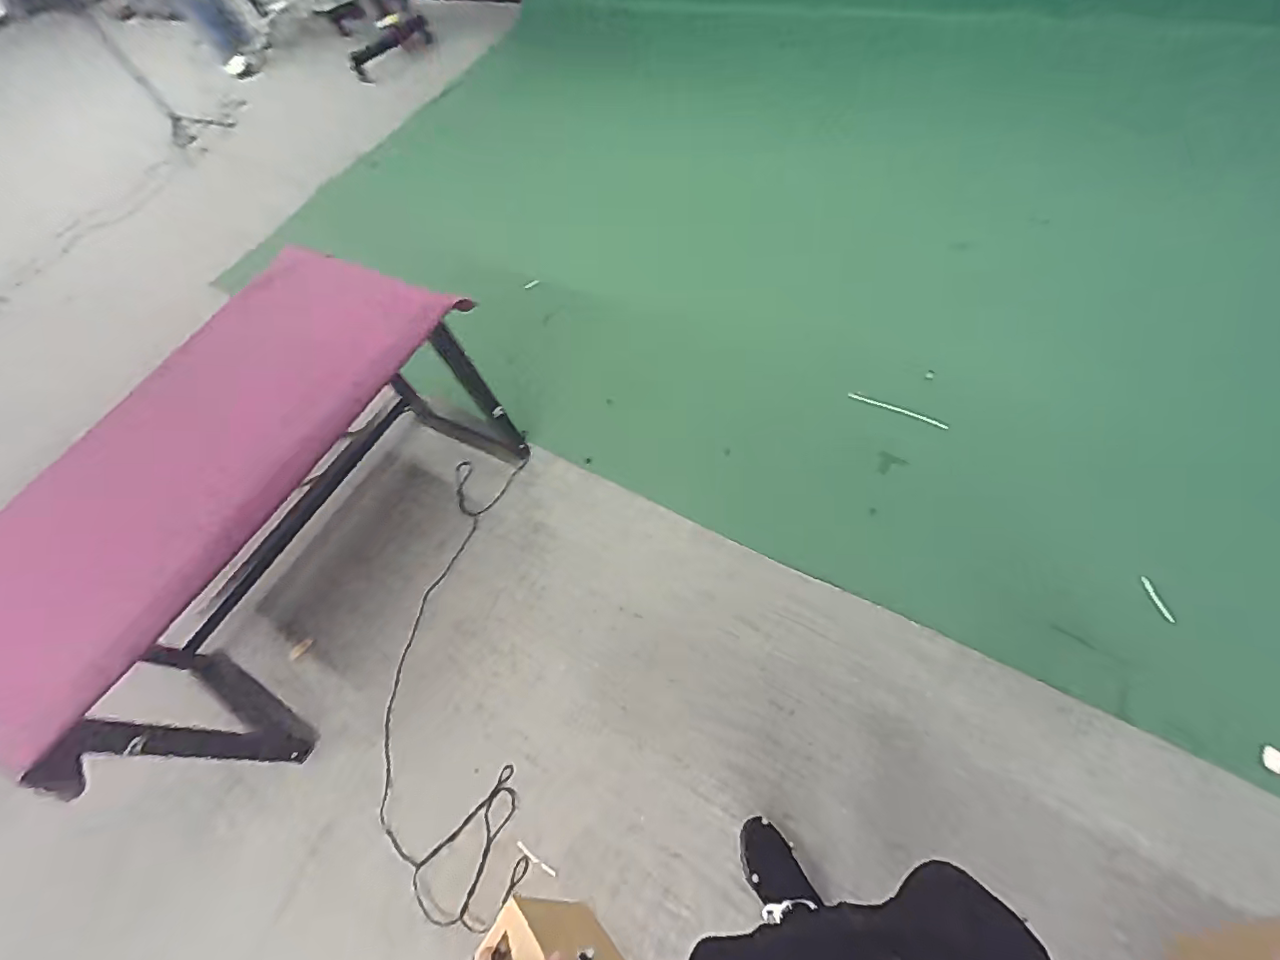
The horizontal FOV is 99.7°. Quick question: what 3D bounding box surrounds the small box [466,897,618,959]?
[{"bbox_3d":[-0.119,0.657,0.653,0.179,0.176,0.168,20,69,46],"label":"small box"}]
